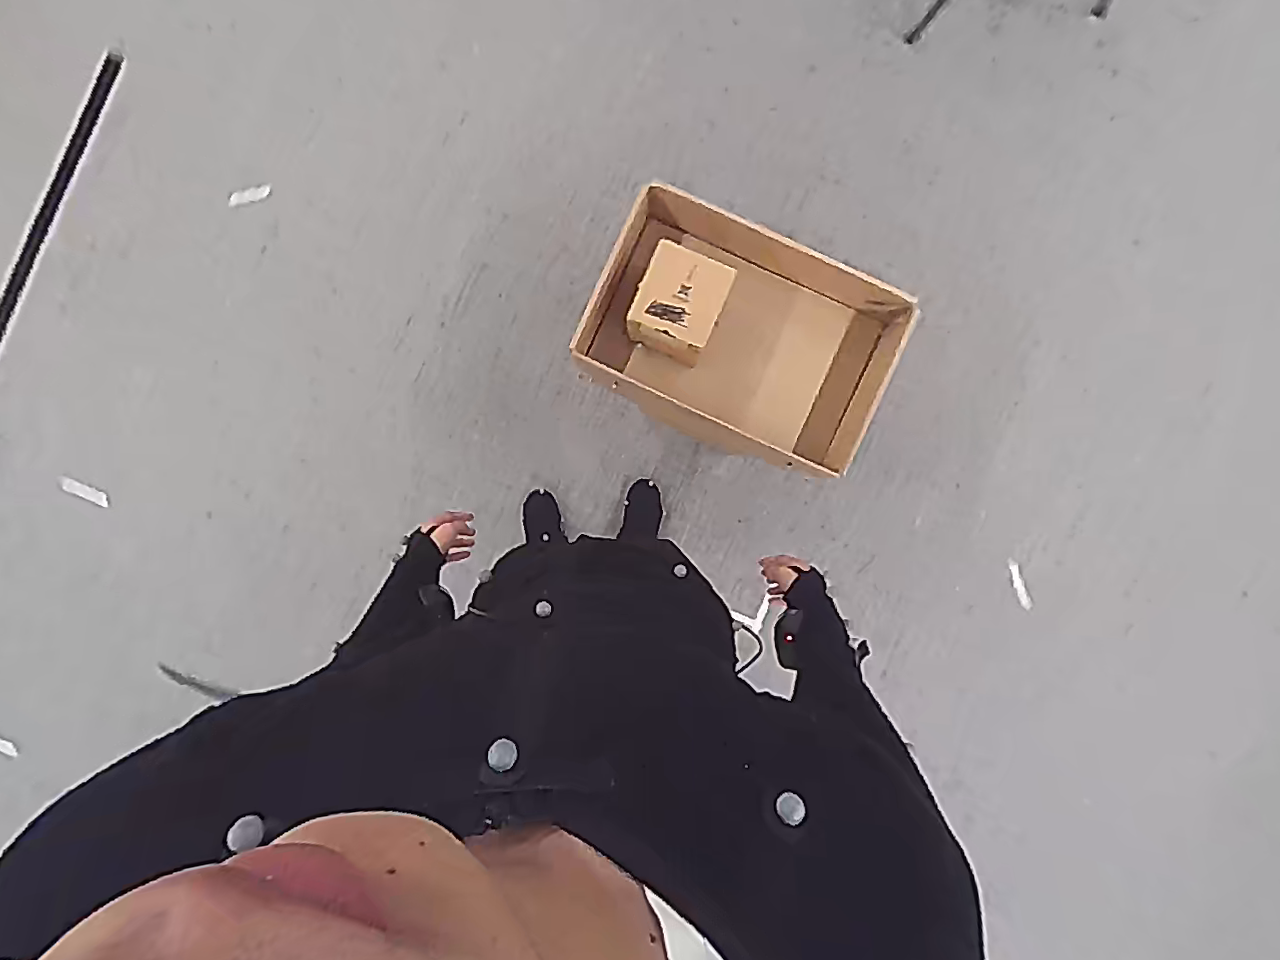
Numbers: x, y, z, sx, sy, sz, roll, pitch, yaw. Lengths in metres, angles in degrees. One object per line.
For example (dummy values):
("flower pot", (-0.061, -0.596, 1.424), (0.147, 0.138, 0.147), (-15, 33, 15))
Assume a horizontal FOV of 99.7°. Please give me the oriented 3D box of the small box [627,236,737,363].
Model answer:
("small box", (0.084, -0.365, 1.135), (0.168, 0.176, 0.179), (24, 90, 0))
